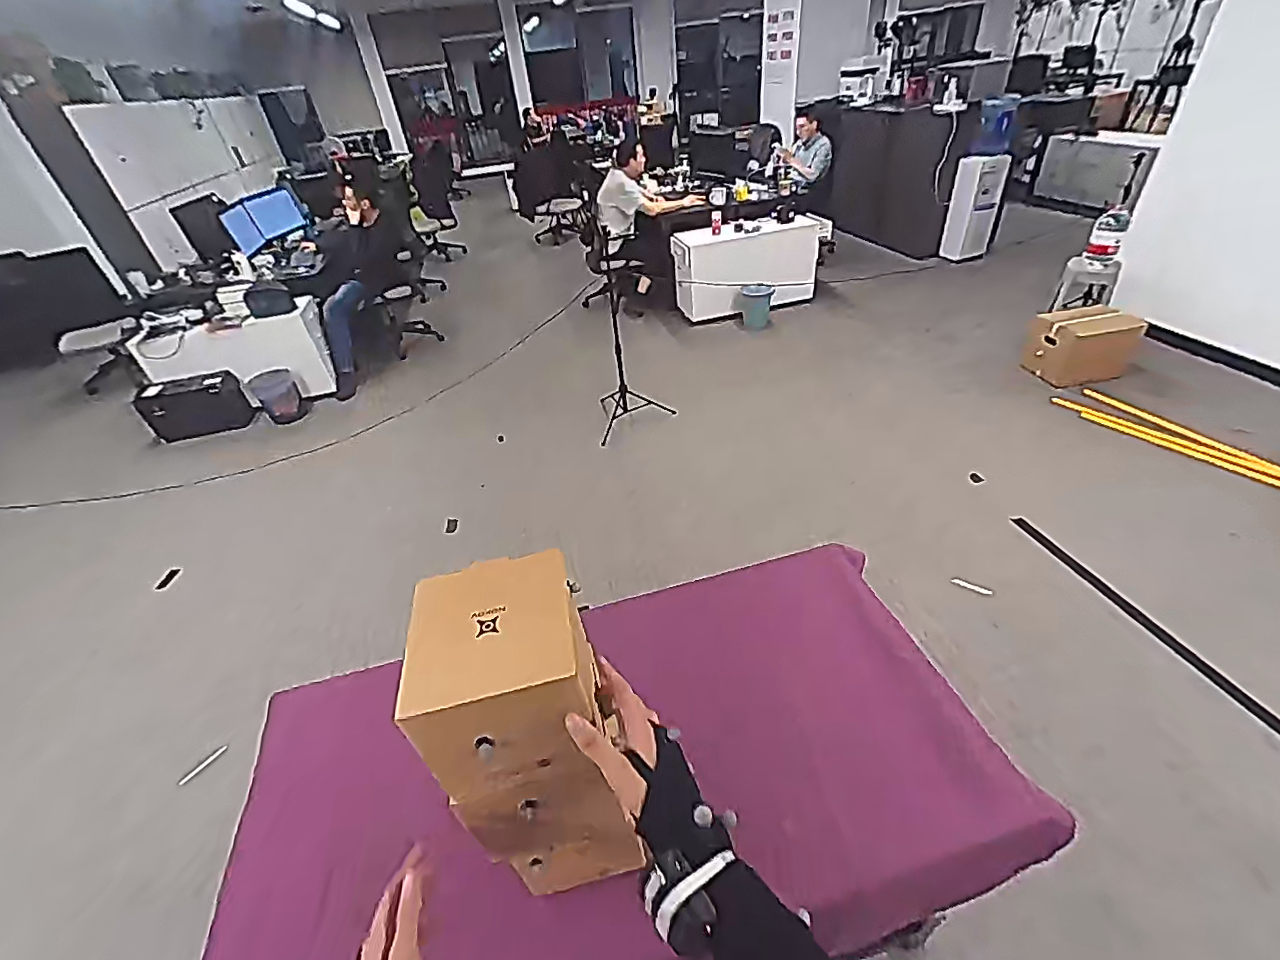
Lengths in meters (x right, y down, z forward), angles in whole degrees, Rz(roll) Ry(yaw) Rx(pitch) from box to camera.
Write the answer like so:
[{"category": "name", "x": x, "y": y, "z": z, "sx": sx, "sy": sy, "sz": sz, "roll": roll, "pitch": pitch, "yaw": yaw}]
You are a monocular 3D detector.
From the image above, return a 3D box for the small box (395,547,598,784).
[{"category": "small box", "x": -0.147, "y": 0.207, "z": 0.600, "sx": 0.168, "sy": 0.176, "sz": 0.179, "roll": -12, "pitch": 36, "yaw": -6}]

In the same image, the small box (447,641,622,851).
[{"category": "small box", "x": -0.129, "y": 0.340, "z": 0.693, "sx": 0.179, "sy": 0.176, "sz": 0.168, "roll": -11, "pitch": 38, "yaw": -6}]
